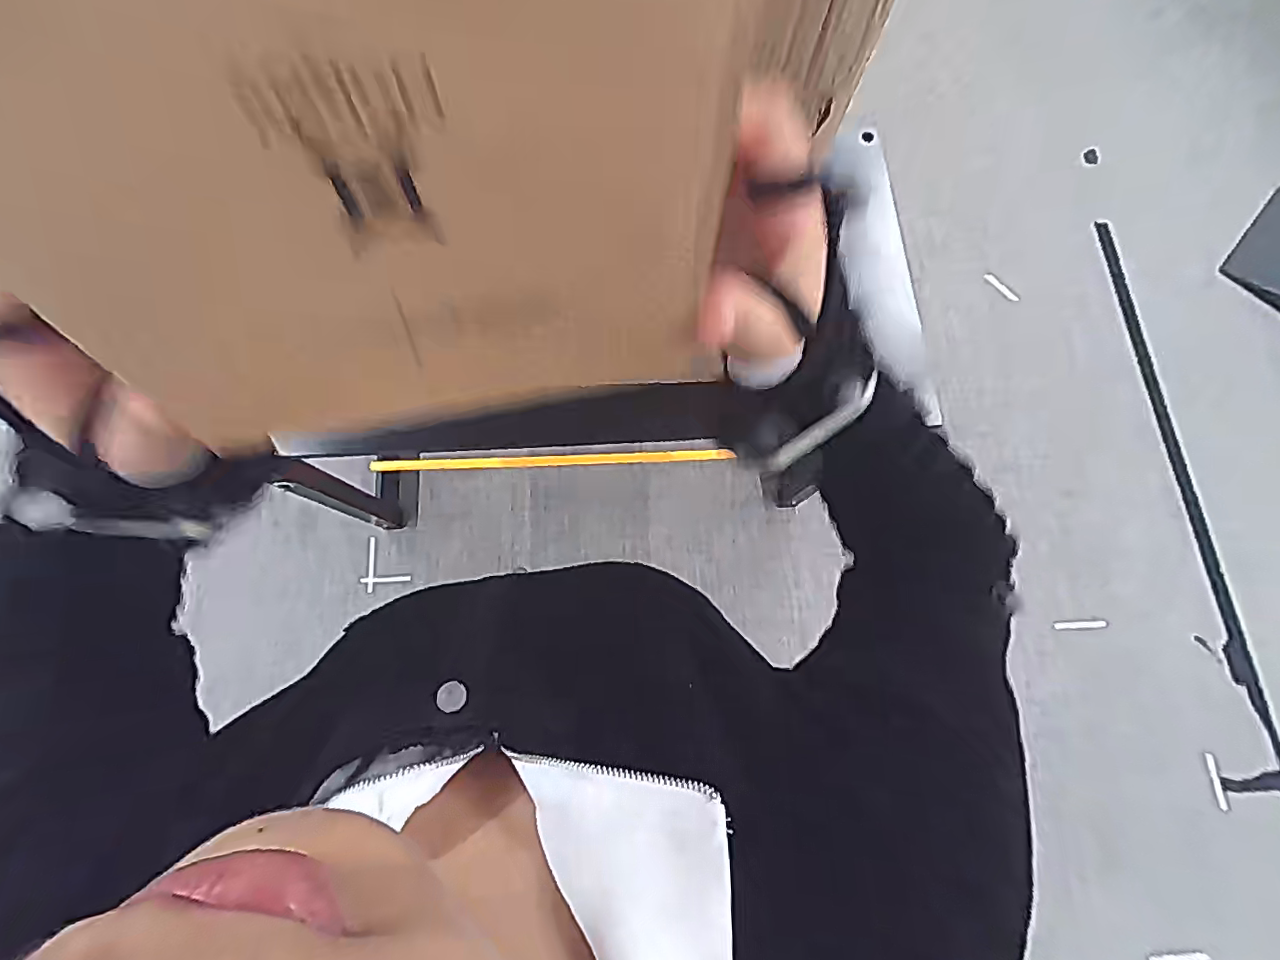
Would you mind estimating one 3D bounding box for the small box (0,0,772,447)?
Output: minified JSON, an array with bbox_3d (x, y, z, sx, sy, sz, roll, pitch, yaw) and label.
[{"bbox_3d":[-0.074,-0.137,0.166,0.168,0.179,0.176,-11,64,-9],"label":"small box"}]
